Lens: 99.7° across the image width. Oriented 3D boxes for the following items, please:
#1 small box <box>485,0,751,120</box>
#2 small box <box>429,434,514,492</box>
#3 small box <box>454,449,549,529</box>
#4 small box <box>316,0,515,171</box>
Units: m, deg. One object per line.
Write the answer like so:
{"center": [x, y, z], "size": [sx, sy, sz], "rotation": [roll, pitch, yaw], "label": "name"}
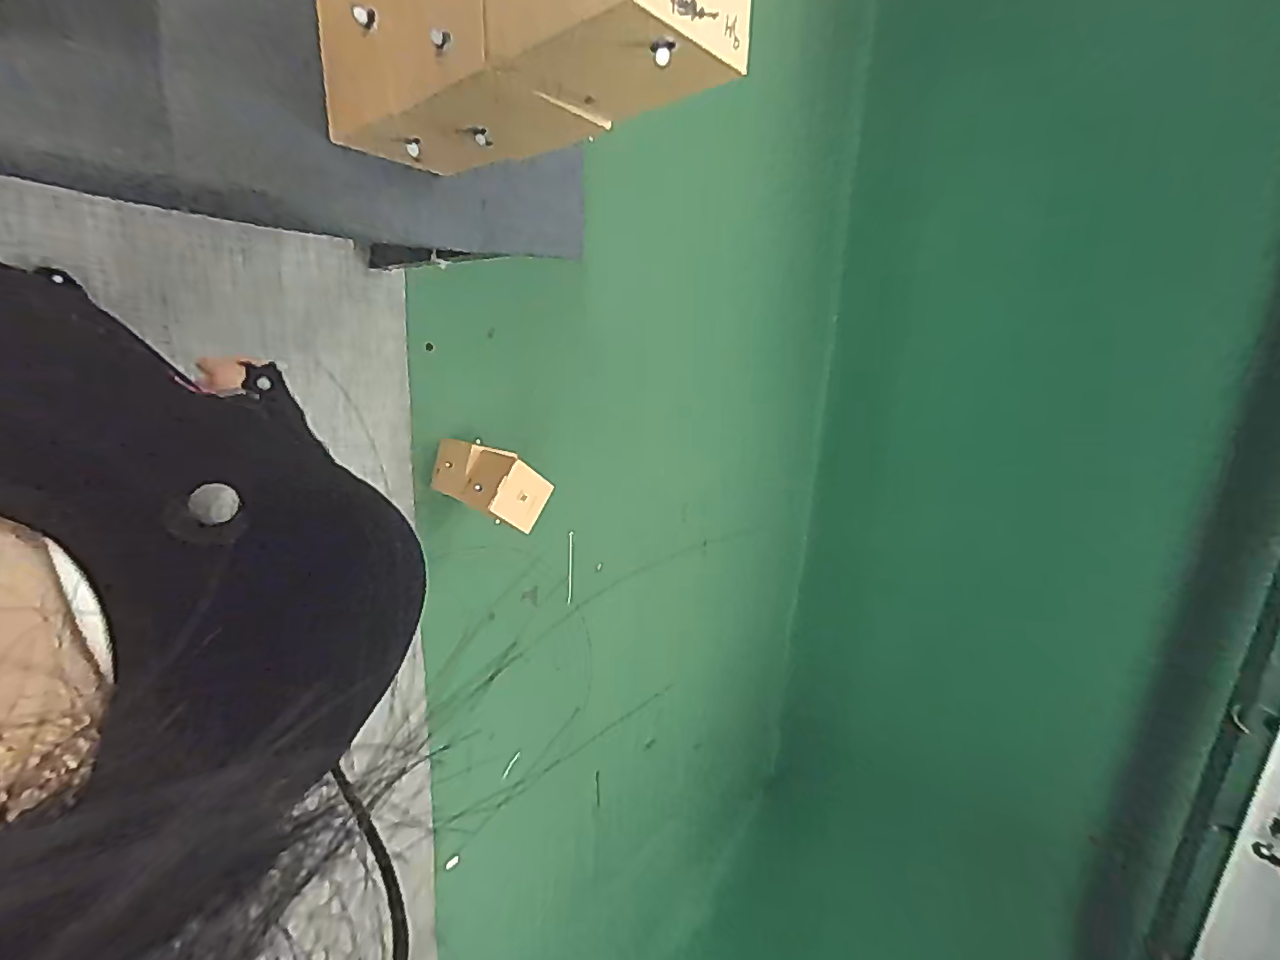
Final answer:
{"center": [-0.019, -0.442, 0.457], "size": [0.168, 0.176, 0.179], "rotation": [-18, 114, -47], "label": "small box"}
{"center": [-0.528, -0.042, 1.683], "size": [0.179, 0.176, 0.168], "rotation": [12, 93, -53], "label": "small box"}
{"center": [-0.408, 0.021, 1.587], "size": [0.179, 0.176, 0.168], "rotation": [45, 68, -49], "label": "small box"}
{"center": [-0.271, -0.501, 0.659], "size": [0.168, 0.176, 0.179], "rotation": [-14, 111, -49], "label": "small box"}
